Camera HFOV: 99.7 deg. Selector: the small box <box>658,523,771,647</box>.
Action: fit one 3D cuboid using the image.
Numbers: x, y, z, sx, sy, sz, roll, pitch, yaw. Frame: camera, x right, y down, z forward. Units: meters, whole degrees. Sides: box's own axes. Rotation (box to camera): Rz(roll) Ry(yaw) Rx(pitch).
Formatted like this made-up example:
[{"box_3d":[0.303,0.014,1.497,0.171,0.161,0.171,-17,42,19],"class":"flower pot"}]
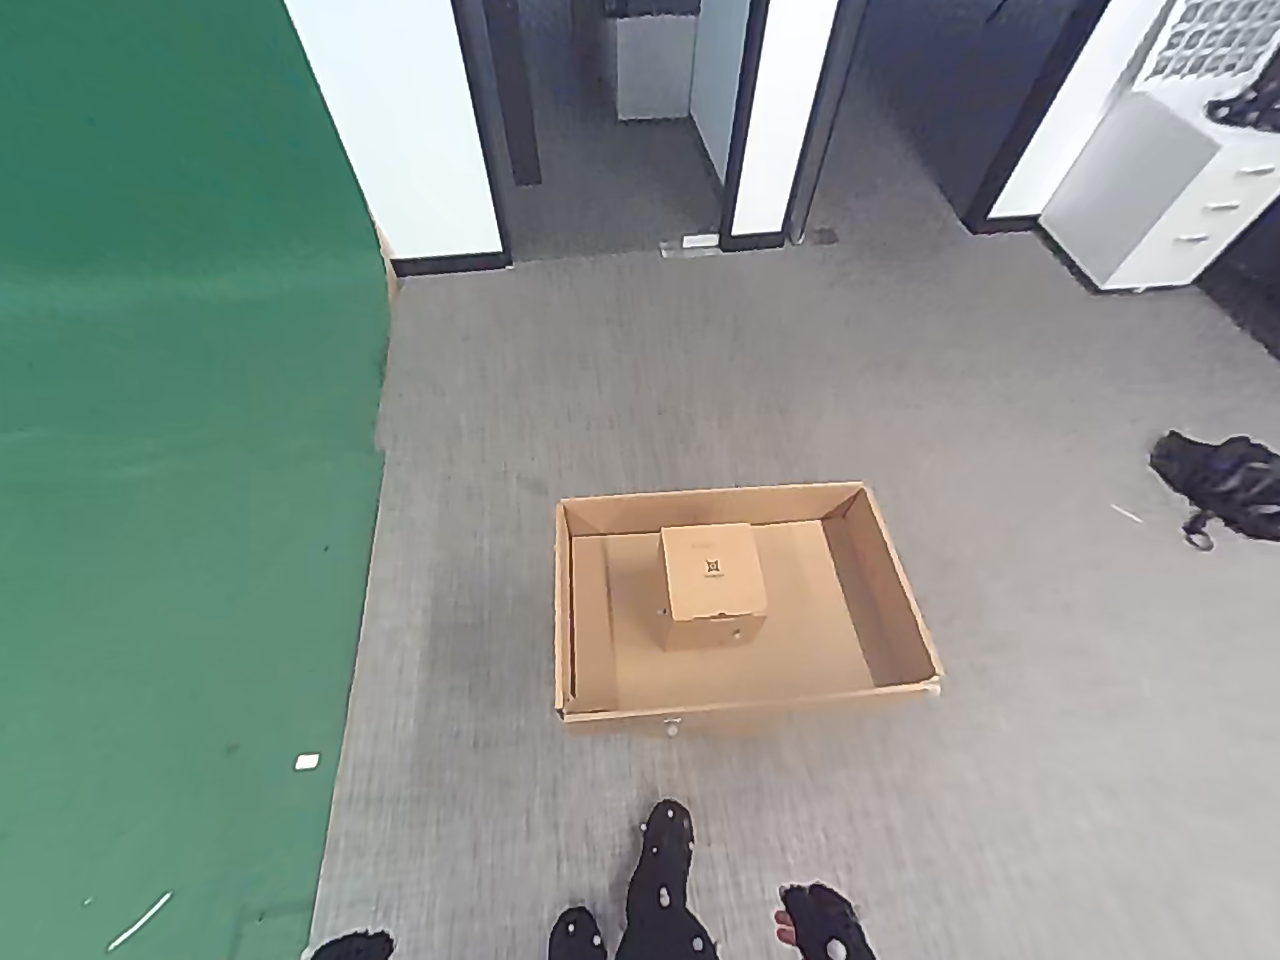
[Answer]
[{"box_3d":[0.127,0.199,0.999,0.168,0.176,0.179,-3,54,-6],"class":"small box"}]
